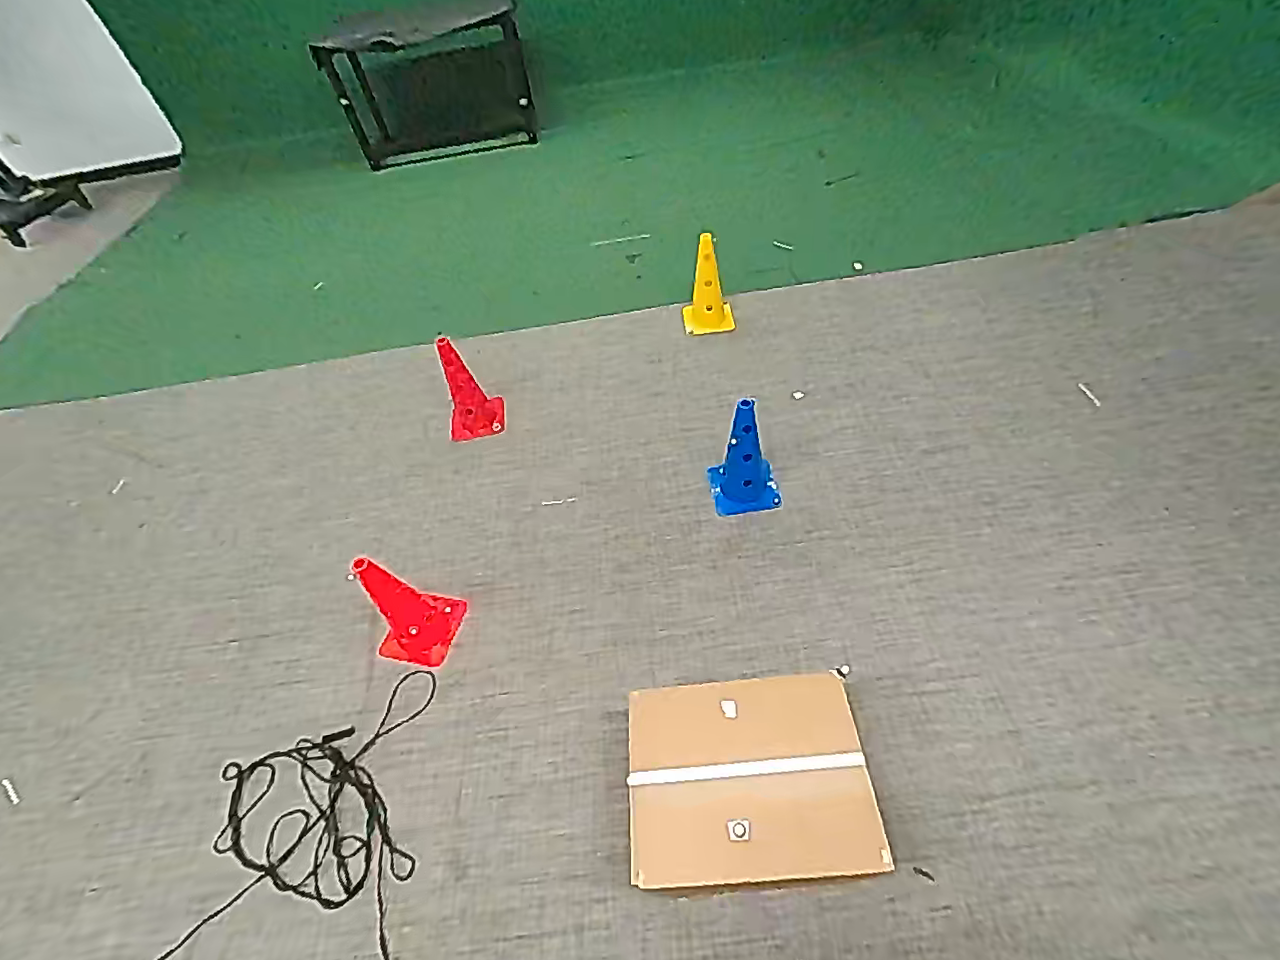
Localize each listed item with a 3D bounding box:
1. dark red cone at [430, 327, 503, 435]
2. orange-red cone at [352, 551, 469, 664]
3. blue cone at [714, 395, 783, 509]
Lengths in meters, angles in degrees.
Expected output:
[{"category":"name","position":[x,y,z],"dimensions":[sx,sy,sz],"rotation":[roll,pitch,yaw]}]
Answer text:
[{"category":"dark red cone","position":[-0.634,-0.358,1.899],"dimensions":[0.202,0.394,0.201],"rotation":[-14,47,-2]},{"category":"orange-red cone","position":[-0.623,0.295,1.378],"dimensions":[0.199,0.360,0.198],"rotation":[6,51,17]},{"category":"blue cone","position":[0.312,-0.094,1.558],"dimensions":[0.192,0.380,0.193],"rotation":[-8,50,3]}]
